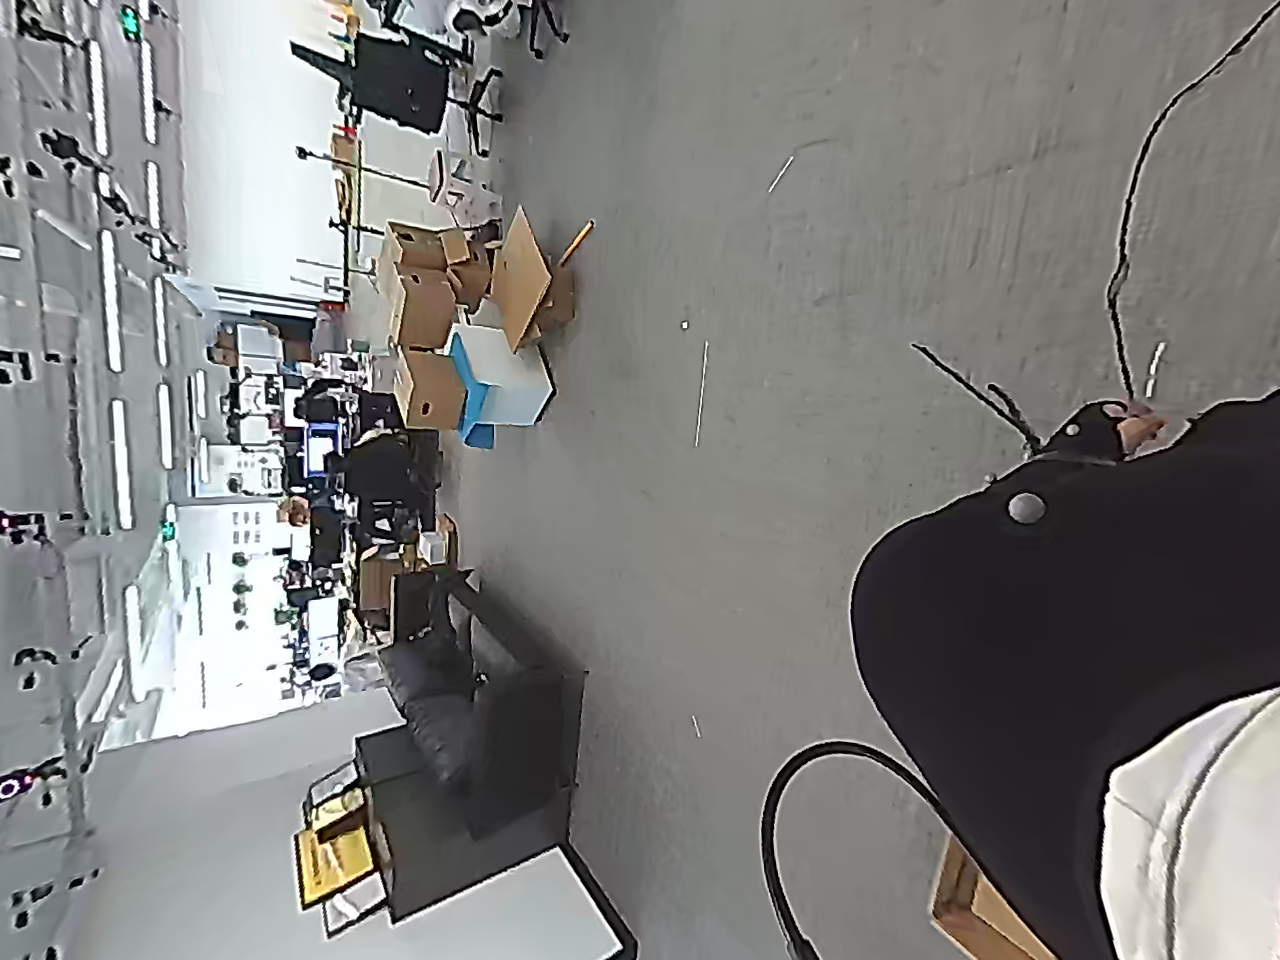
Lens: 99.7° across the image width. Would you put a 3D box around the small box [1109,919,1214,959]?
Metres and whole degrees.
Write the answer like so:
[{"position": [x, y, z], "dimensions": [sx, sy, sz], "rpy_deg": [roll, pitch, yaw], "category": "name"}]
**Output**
[{"position": [1.122, 1.087, 1.146], "dimensions": [0.179, 0.176, 0.168], "rpy_deg": [23, 112, 53], "category": "small box"}]
